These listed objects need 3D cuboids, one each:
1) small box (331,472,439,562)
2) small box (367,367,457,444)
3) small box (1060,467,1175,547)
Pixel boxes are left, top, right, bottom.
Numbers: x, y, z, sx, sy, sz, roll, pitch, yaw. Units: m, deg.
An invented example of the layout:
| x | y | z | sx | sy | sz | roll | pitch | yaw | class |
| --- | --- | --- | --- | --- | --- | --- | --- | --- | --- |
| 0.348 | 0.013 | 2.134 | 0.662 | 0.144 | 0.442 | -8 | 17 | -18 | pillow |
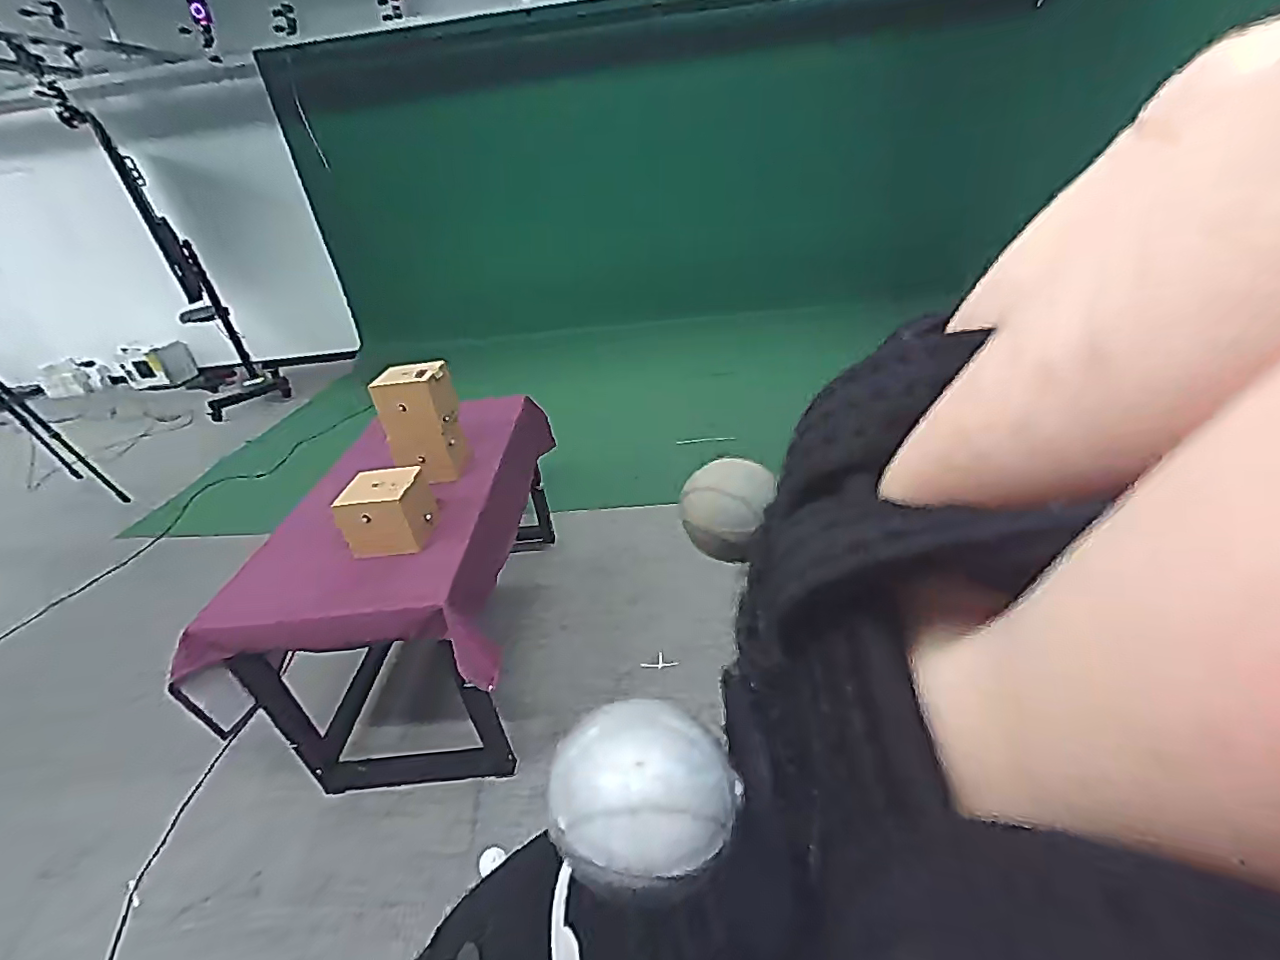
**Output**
| x | y | z | sx | sy | sz | roll | pitch | yaw | class |
| --- | --- | --- | --- | --- | --- | --- | --- | --- | --- |
| -0.655 | 0.099 | 1.412 | 0.179 | 0.176 | 0.168 | -6 | 31 | 3 | small box |
| -0.677 | -0.225 | 1.633 | 0.179 | 0.176 | 0.168 | -7 | 31 | 5 | small box |
| 1.329 | 0.077 | 1.526 | 0.179 | 0.176 | 0.168 | -2 | 30 | 7 | small box |
